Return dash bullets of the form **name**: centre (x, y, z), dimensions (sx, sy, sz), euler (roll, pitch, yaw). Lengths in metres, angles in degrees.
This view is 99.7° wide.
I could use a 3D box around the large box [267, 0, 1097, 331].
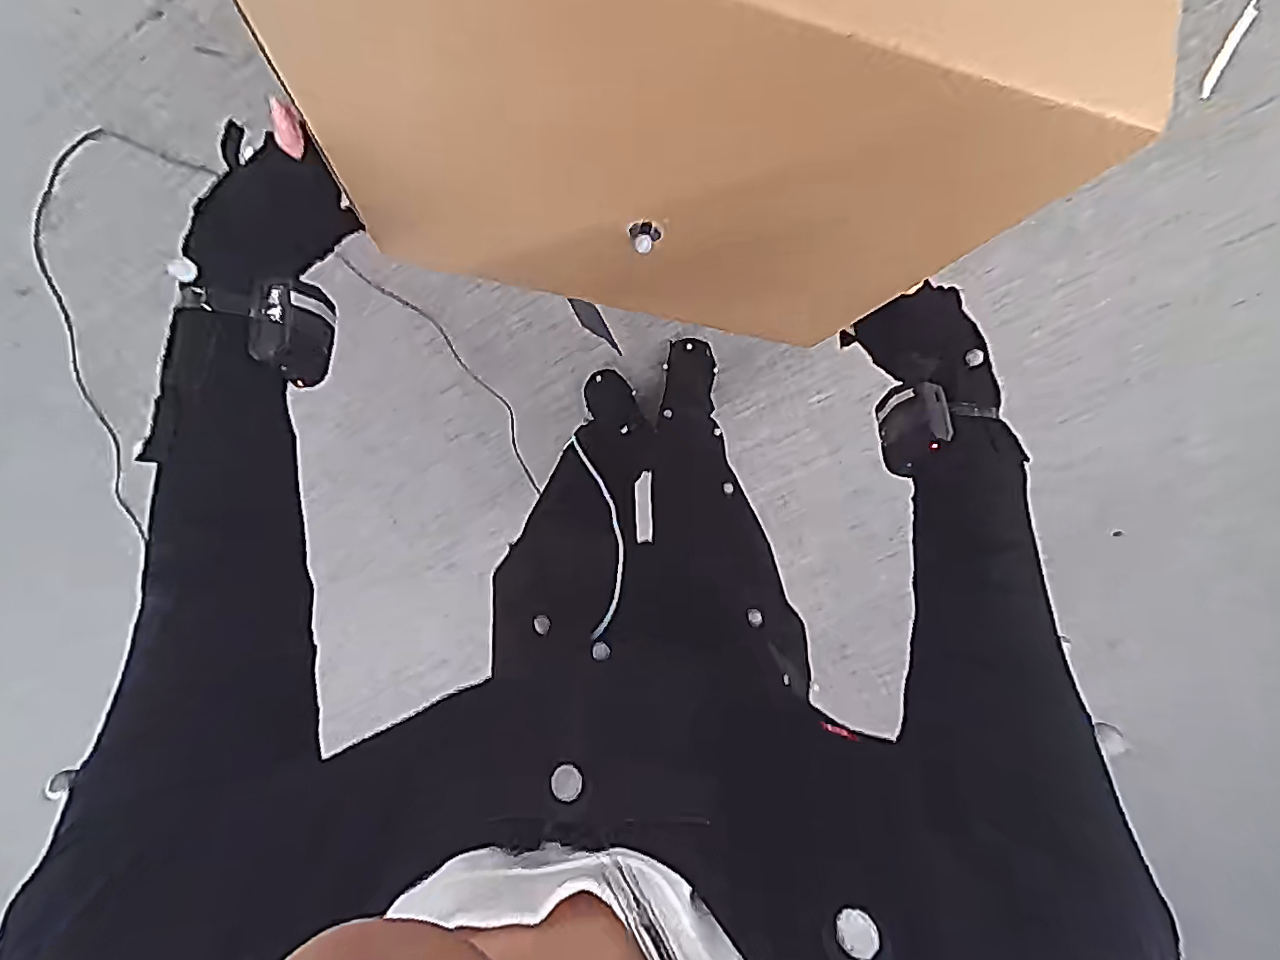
- **large box**: centre (0.027, -0.330, 0.402), dimensions (0.408, 0.320, 0.320), euler (7, 85, -8)
